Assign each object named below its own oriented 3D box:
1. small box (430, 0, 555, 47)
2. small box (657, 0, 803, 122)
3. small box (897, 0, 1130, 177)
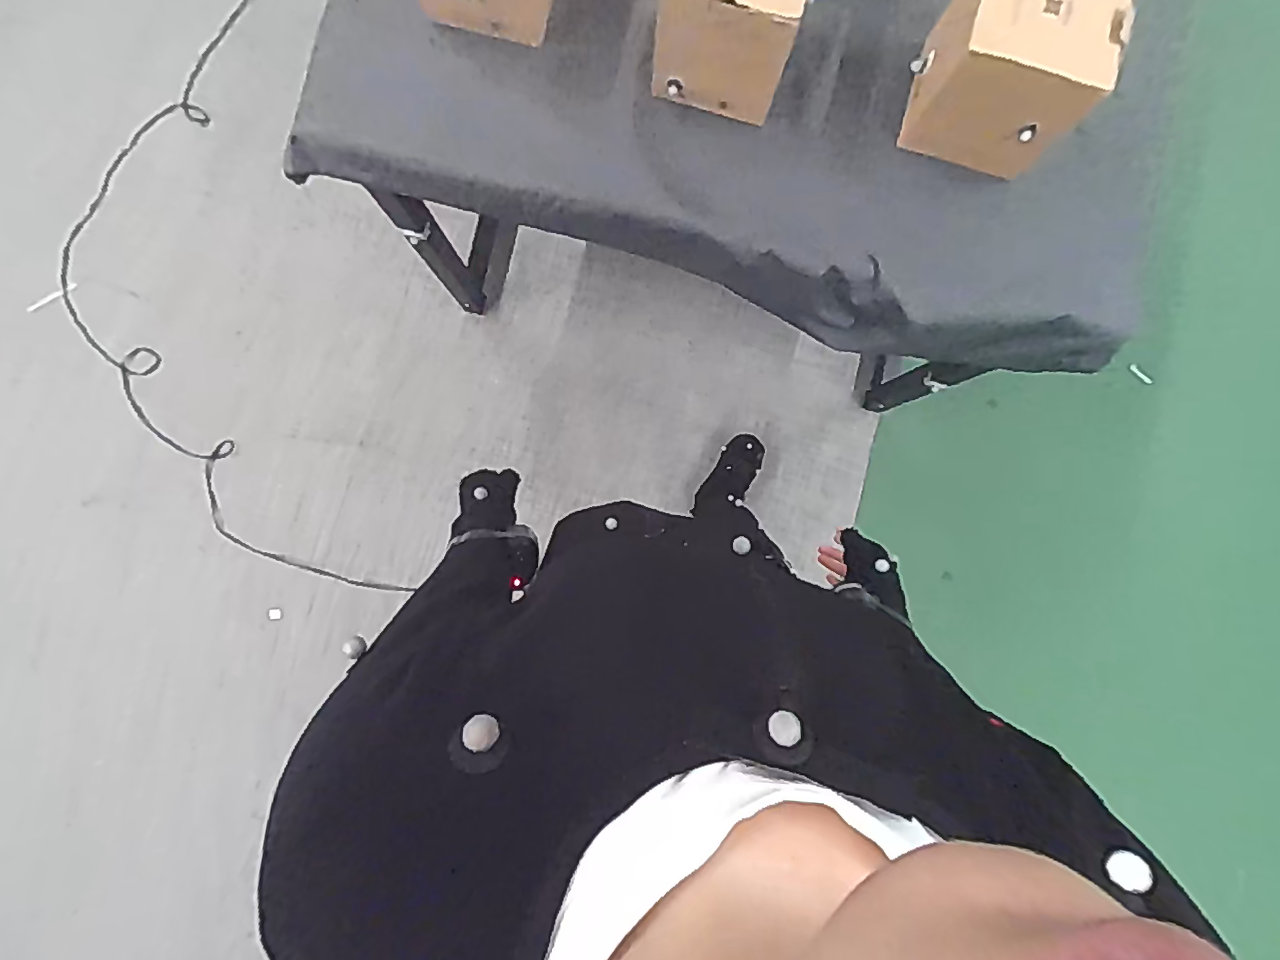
[{"bbox_3d":[-0.194,-0.714,0.694,0.168,0.176,0.179,13,87,-1],"label":"small box"},{"bbox_3d":[0.121,-0.611,0.697,0.168,0.176,0.179,16,86,-1],"label":"small box"},{"bbox_3d":[0.473,-0.533,0.704,0.179,0.176,0.168,15,85,1],"label":"small box"}]
